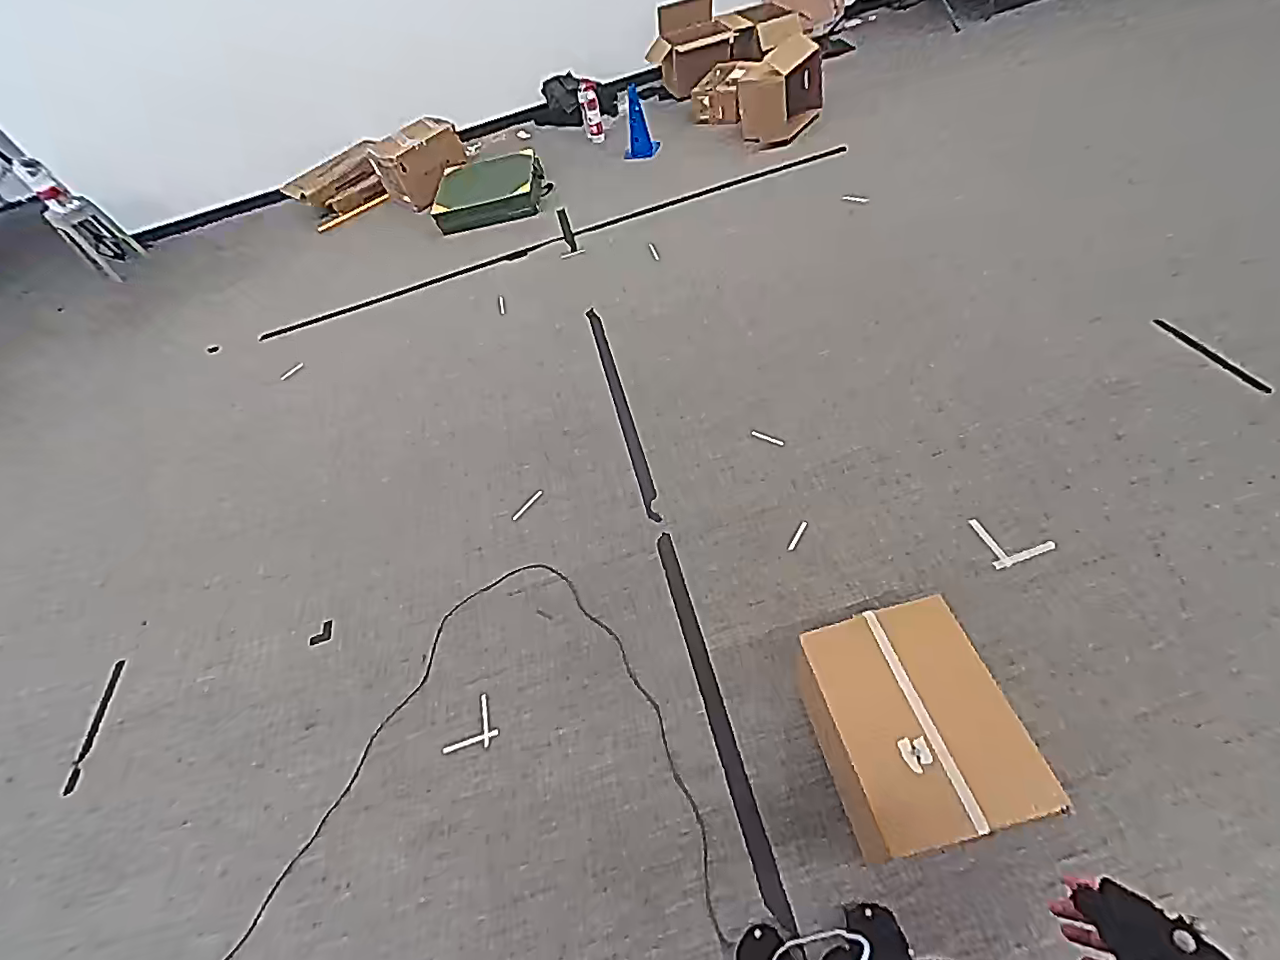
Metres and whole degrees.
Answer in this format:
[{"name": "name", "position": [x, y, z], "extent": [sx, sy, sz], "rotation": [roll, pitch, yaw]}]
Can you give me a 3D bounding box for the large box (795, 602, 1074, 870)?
[{"name": "large box", "position": [0.555, 0.534, 1.132], "extent": [0.320, 0.320, 0.408], "rotation": [-18, 52, 1]}]
